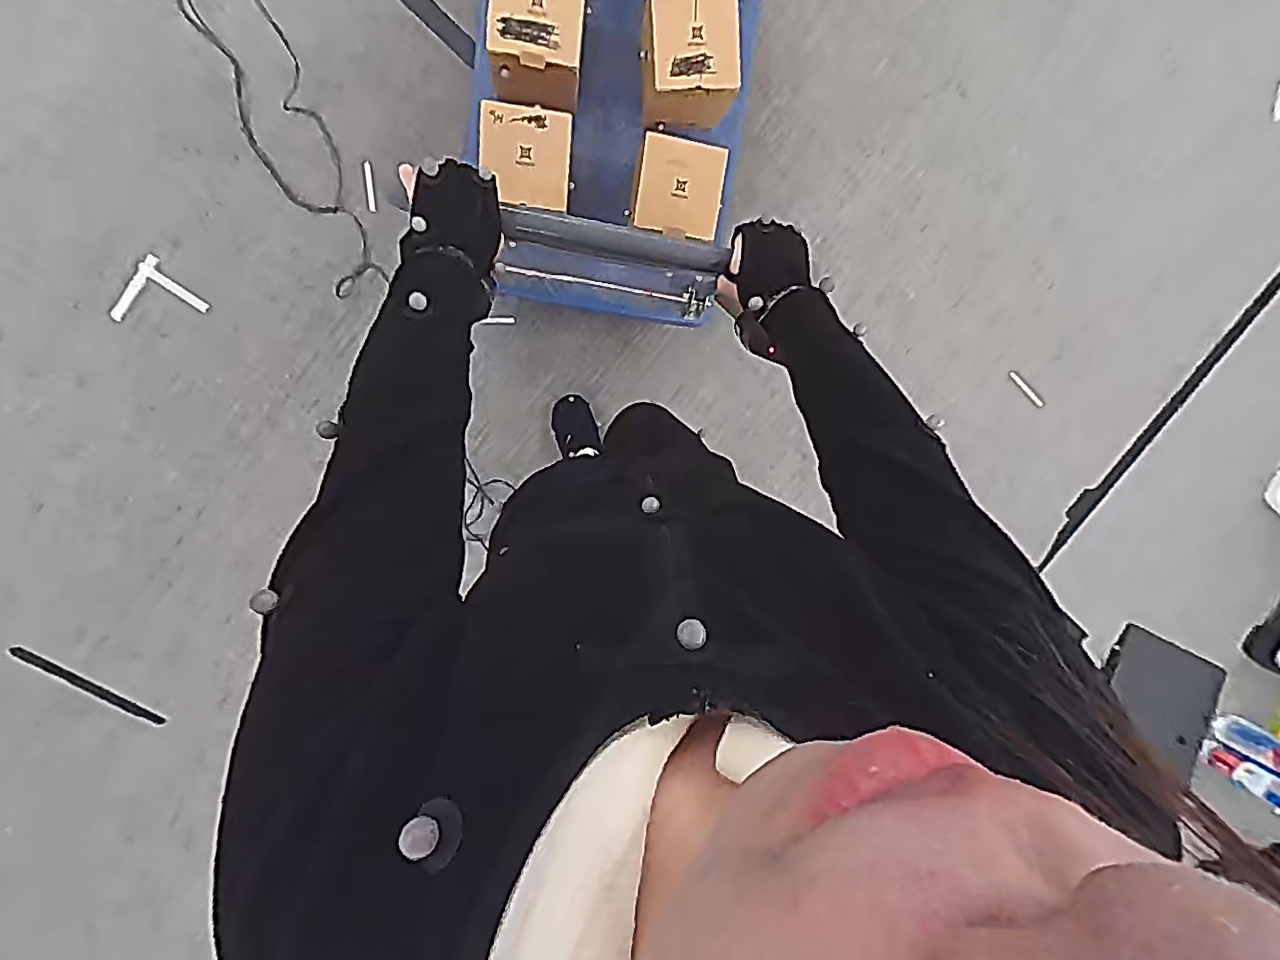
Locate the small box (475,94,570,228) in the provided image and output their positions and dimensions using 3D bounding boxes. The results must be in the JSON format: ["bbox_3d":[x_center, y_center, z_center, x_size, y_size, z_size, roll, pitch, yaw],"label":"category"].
[{"bbox_3d":[-0.228,-0.619,1.076,0.168,0.176,0.179,3,101,-10],"label":"small box"}]

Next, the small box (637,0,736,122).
[{"bbox_3d":[0.089,-0.842,1.079,0.168,0.176,0.179,-5,101,-7],"label":"small box"}]

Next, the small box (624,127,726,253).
[{"bbox_3d":[0.064,-0.590,1.126,0.168,0.176,0.179,7,99,-10],"label":"small box"}]
